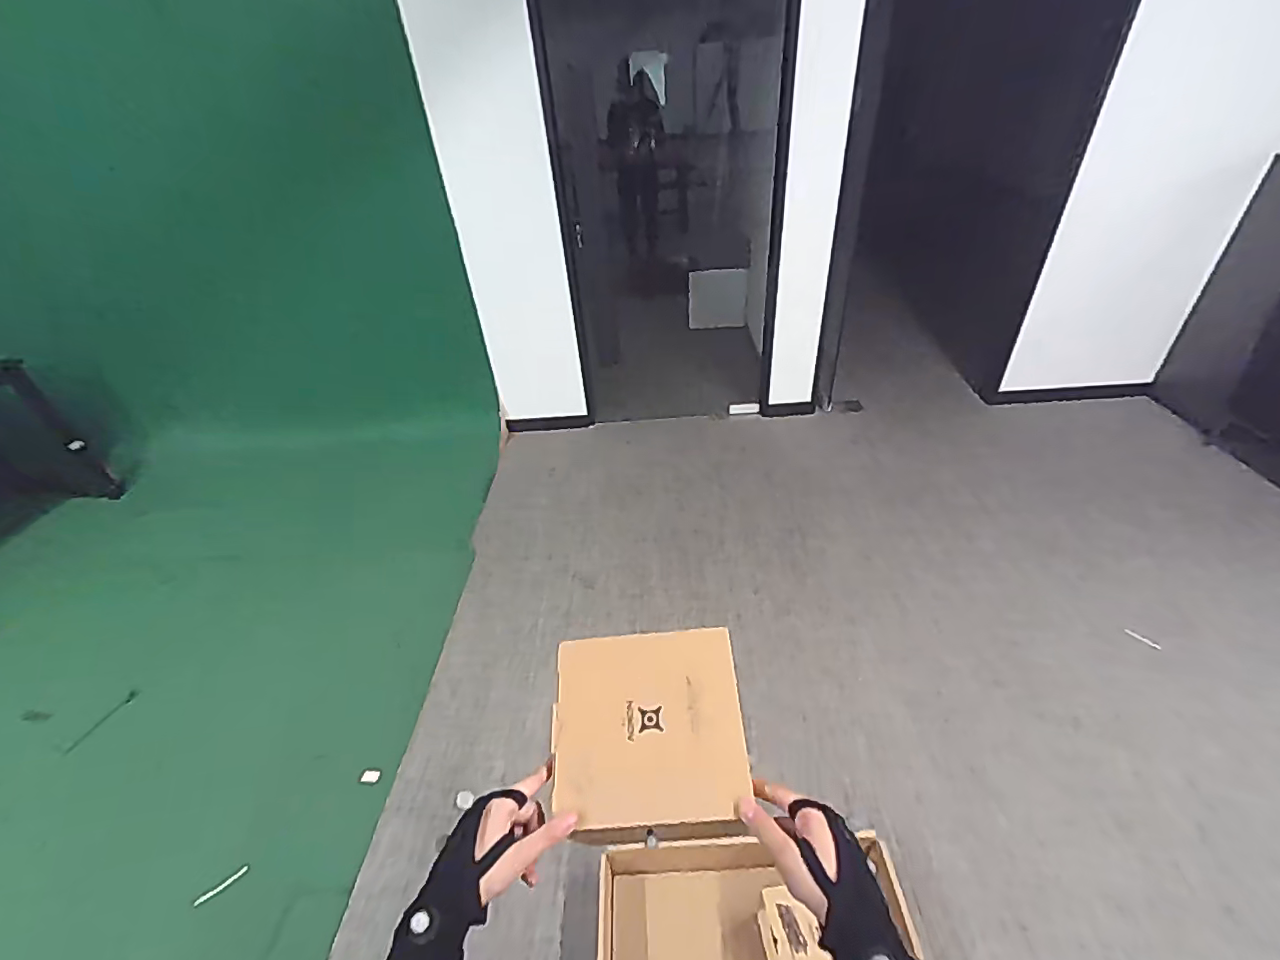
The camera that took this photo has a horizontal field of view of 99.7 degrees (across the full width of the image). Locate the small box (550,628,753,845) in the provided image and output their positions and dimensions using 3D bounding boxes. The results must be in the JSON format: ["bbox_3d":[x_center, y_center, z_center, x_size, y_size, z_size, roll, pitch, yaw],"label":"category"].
[{"bbox_3d":[0.018,0.271,0.562,0.179,0.176,0.168,-7,52,5],"label":"small box"}]

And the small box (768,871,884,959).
[{"bbox_3d":[0.362,0.920,1.081,0.179,0.176,0.168,-9,38,-3],"label":"small box"}]
